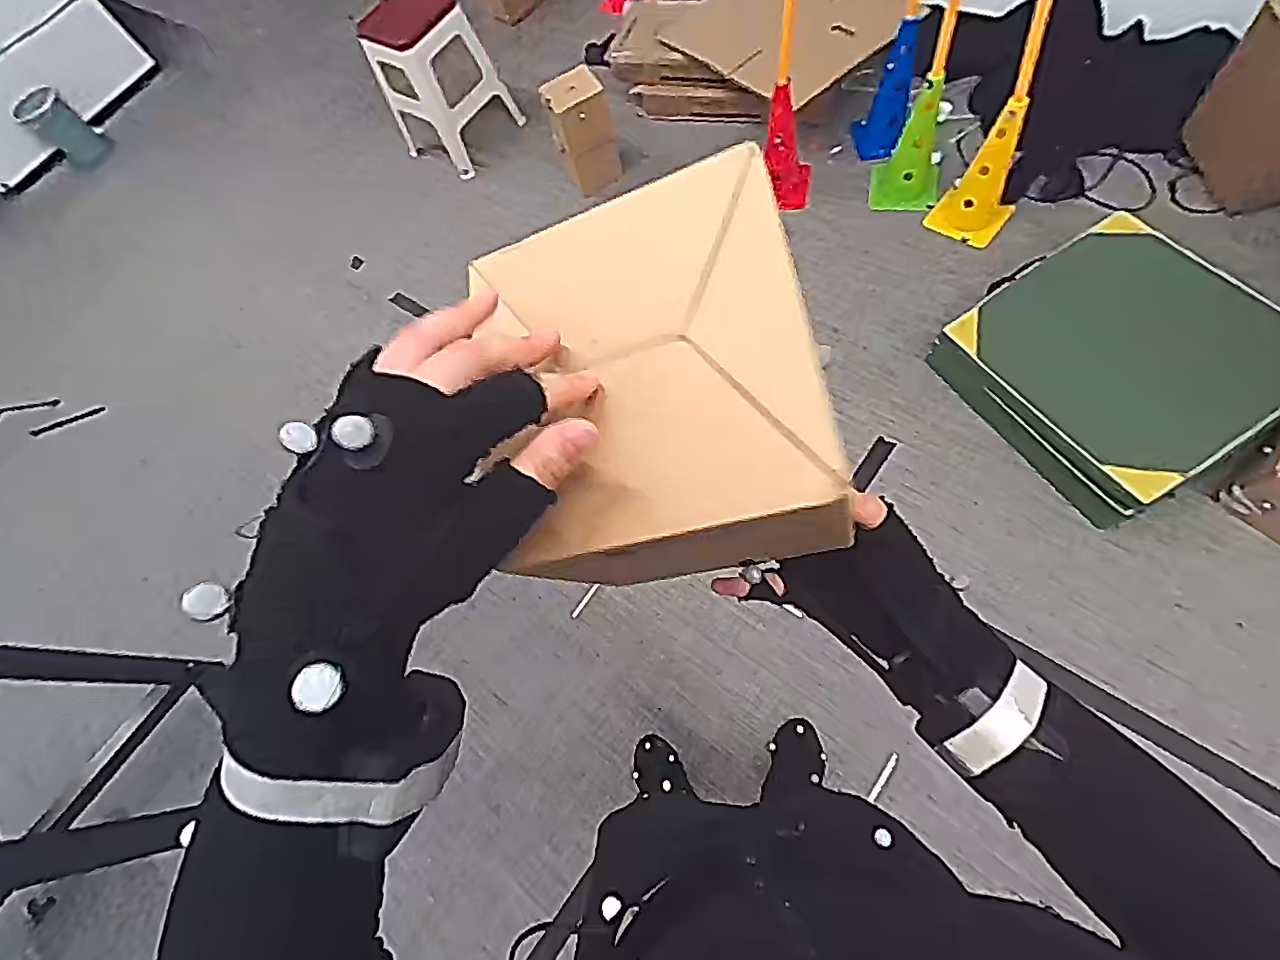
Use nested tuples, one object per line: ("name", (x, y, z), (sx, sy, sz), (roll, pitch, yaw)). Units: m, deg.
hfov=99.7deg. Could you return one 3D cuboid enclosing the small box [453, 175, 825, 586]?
("small box", (0.007, -0.036, 0.324), (0.168, 0.176, 0.179), (-11, 73, 21))
